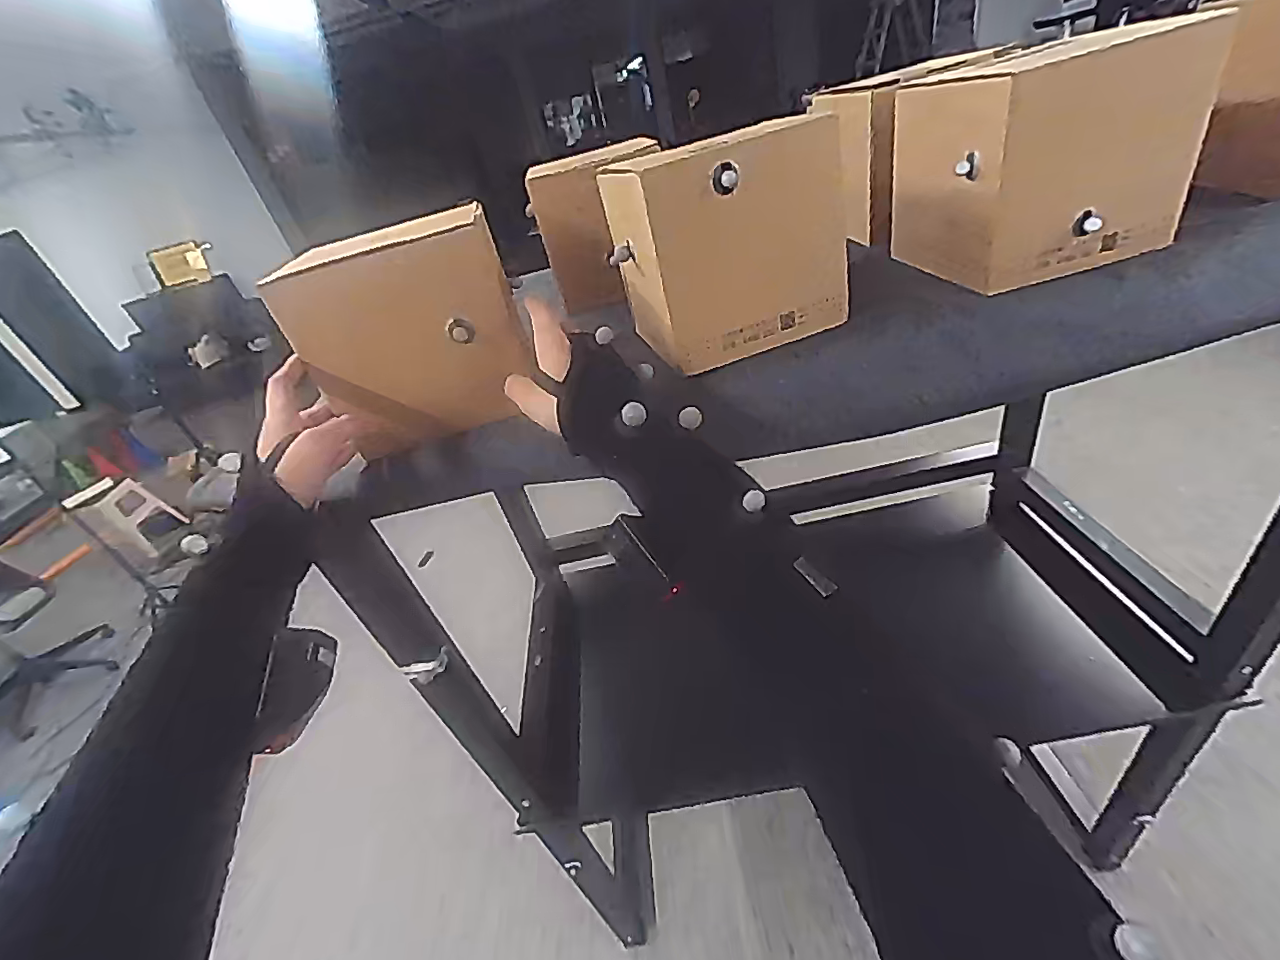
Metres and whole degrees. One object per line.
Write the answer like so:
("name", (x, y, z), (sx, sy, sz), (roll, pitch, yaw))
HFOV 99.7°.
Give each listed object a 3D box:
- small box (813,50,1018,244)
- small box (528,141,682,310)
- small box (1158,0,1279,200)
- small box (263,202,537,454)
("small box", (0.337, -0.417, 0.693), (0.168, 0.176, 0.179), (-14, 33, 2))
("small box", (-0.046, -0.354, 0.752), (0.168, 0.176, 0.179), (-15, 35, 2))
("small box", (0.664, -0.382, 0.517), (0.168, 0.176, 0.179), (-10, 35, 8))
("small box", (-0.205, -0.150, 0.525), (0.179, 0.176, 0.168), (-17, 34, -4))
